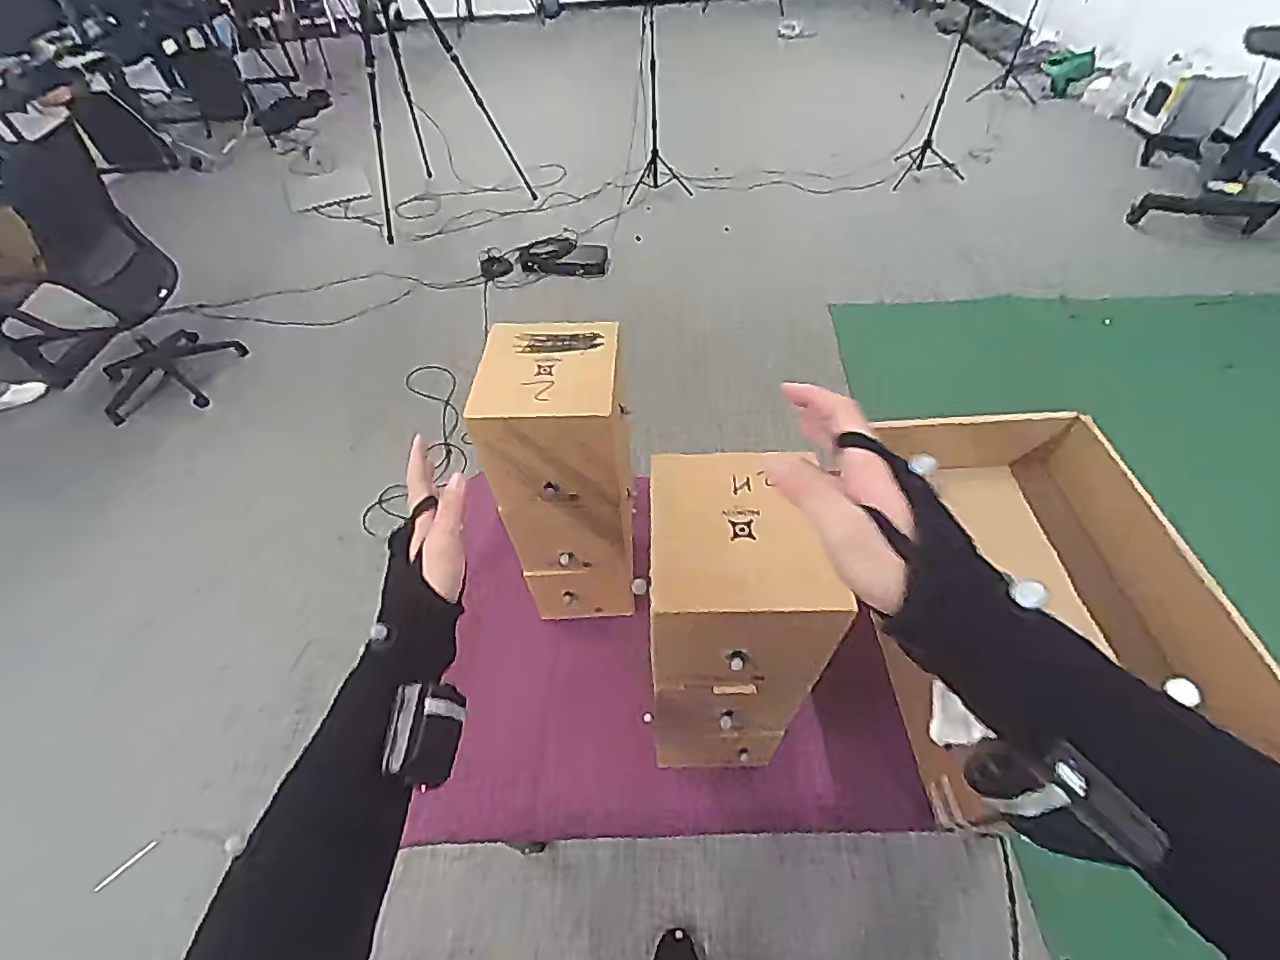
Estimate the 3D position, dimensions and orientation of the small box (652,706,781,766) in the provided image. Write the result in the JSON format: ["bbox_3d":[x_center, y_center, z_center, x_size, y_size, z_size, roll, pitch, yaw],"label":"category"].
[{"bbox_3d":[0.102,0.308,0.792,0.168,0.176,0.179,-1,49,1],"label":"small box"}]

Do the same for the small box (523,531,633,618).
[{"bbox_3d":[-0.099,0.133,0.952,0.168,0.176,0.179,-3,49,1],"label":"small box"}]

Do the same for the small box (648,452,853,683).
[{"bbox_3d":[0.093,0.092,0.544,0.168,0.176,0.179,0,49,2],"label":"small box"}]

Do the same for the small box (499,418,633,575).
[{"bbox_3d":[-0.100,0.025,0.827,0.168,0.176,0.179,0,50,4],"label":"small box"}]

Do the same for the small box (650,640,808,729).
[{"bbox_3d":[0.096,0.200,0.670,0.168,0.176,0.179,-1,50,1],"label":"small box"}]
